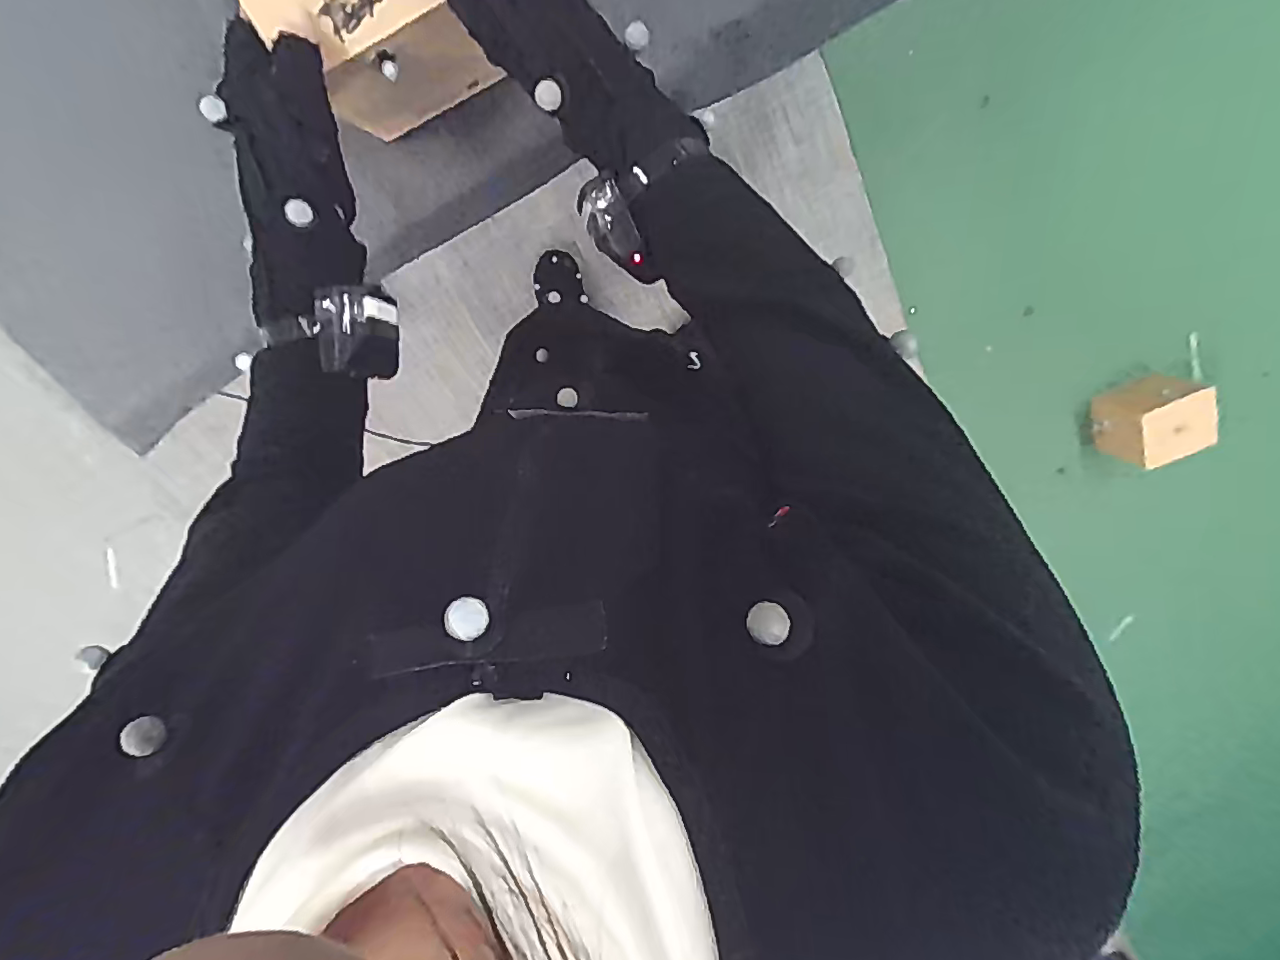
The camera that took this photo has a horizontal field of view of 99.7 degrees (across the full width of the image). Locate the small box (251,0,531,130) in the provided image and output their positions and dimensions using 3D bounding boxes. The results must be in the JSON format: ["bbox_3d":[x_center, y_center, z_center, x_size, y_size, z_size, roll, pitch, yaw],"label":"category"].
[{"bbox_3d":[-0.203,-0.412,0.415,0.168,0.176,0.179,-24,111,8],"label":"small box"}]

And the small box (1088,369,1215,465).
[{"bbox_3d":[1.332,-0.172,1.414,0.179,0.176,0.168,-25,112,10],"label":"small box"}]
